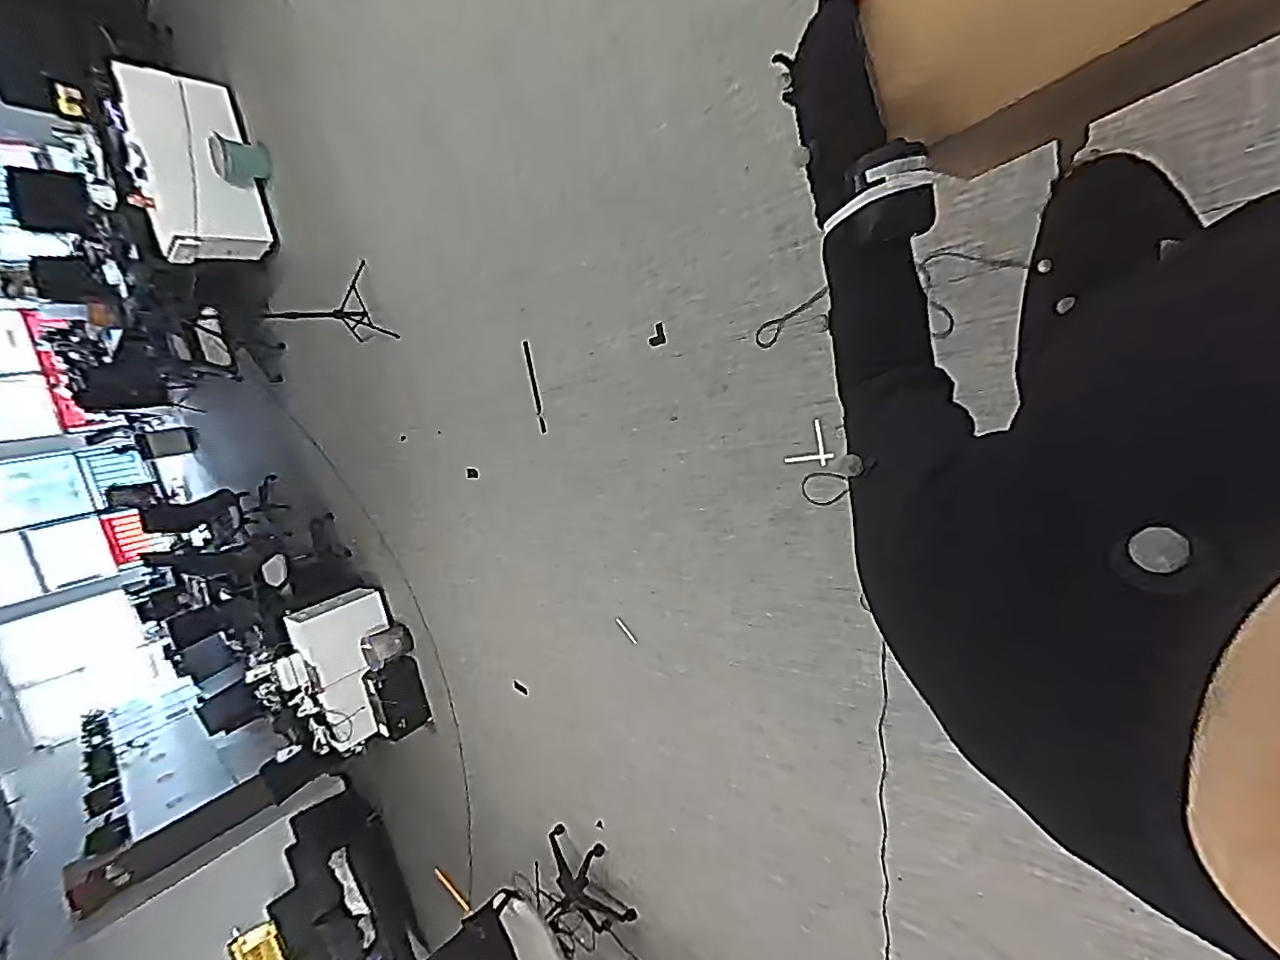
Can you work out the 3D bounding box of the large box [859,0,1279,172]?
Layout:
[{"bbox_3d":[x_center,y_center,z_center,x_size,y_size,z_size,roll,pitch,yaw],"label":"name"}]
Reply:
[{"bbox_3d":[0.390,-0.495,0.395,0.408,0.320,0.320,-13,102,43],"label":"large box"}]
